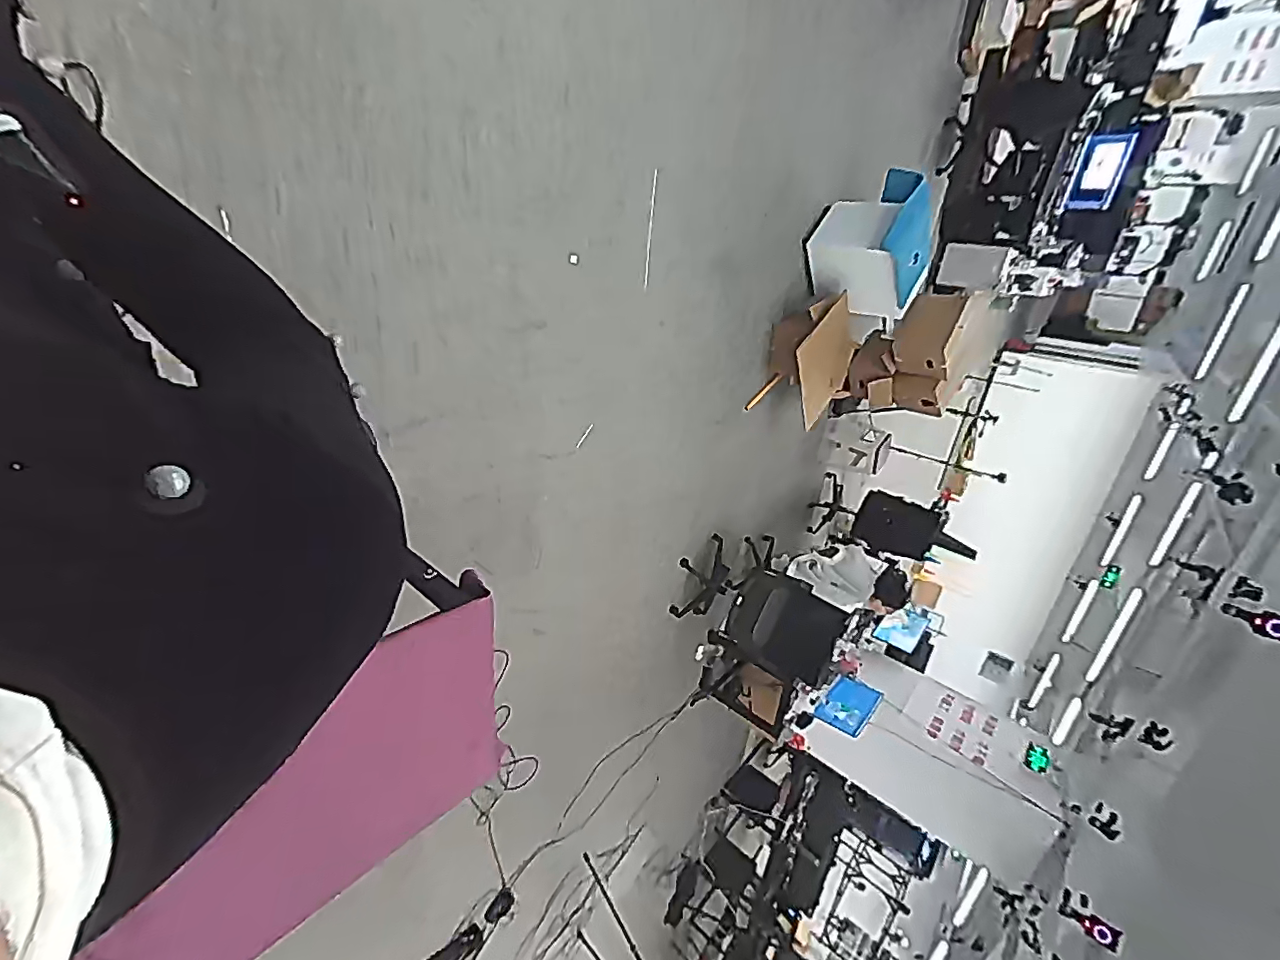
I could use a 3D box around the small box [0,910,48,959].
[{"bbox_3d":[-0.890,0.723,0.701,0.168,0.176,0.179,-20,125,-48],"label":"small box"}]
